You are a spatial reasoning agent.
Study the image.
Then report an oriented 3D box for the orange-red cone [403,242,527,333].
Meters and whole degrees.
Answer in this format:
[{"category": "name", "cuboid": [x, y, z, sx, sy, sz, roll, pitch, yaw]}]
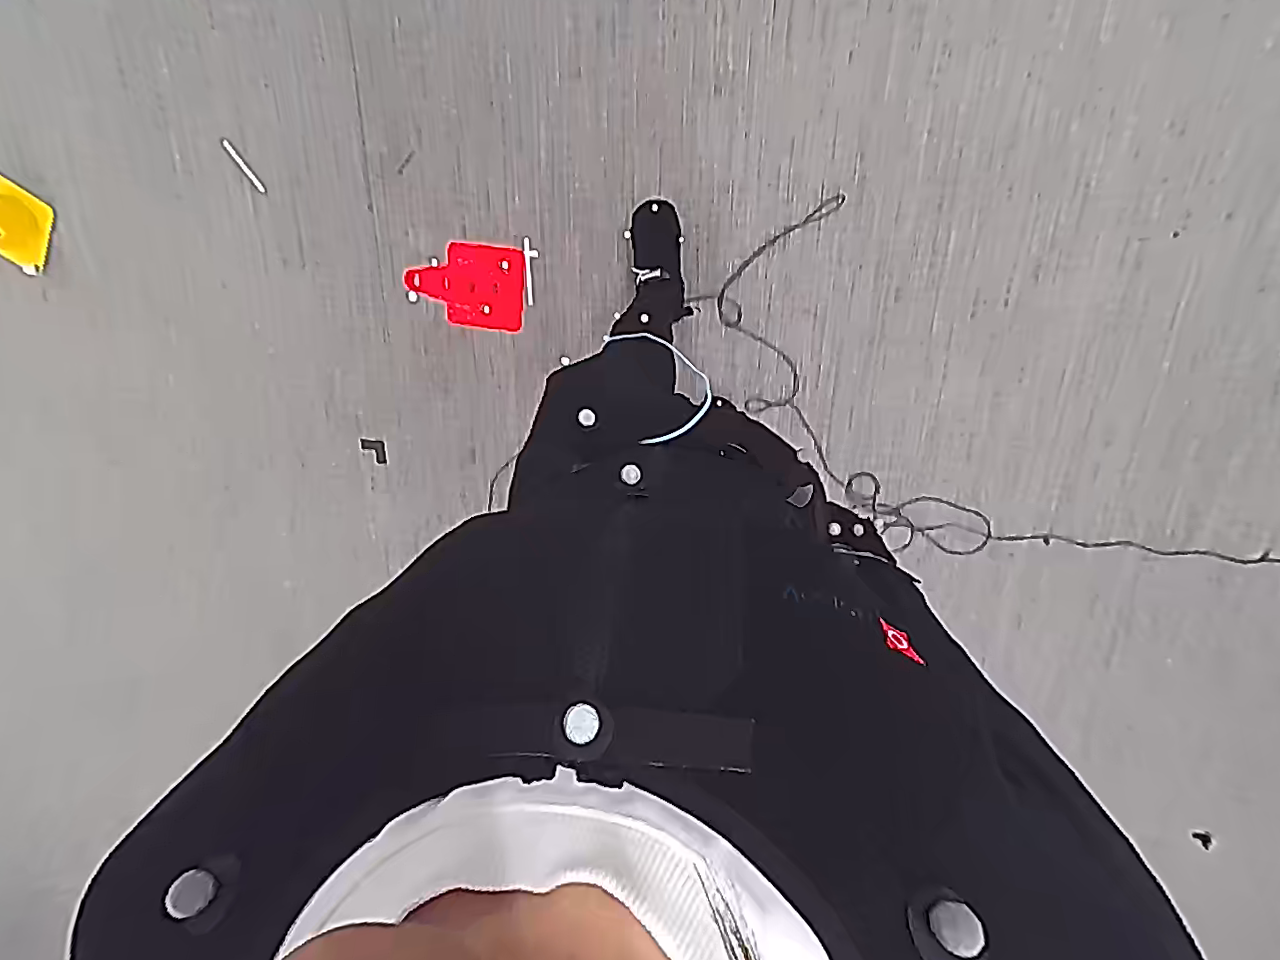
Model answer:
[{"category": "orange-red cone", "cuboid": [-0.406, -0.429, 1.179, 0.199, 0.360, 0.198, 10, 107, 5]}]
